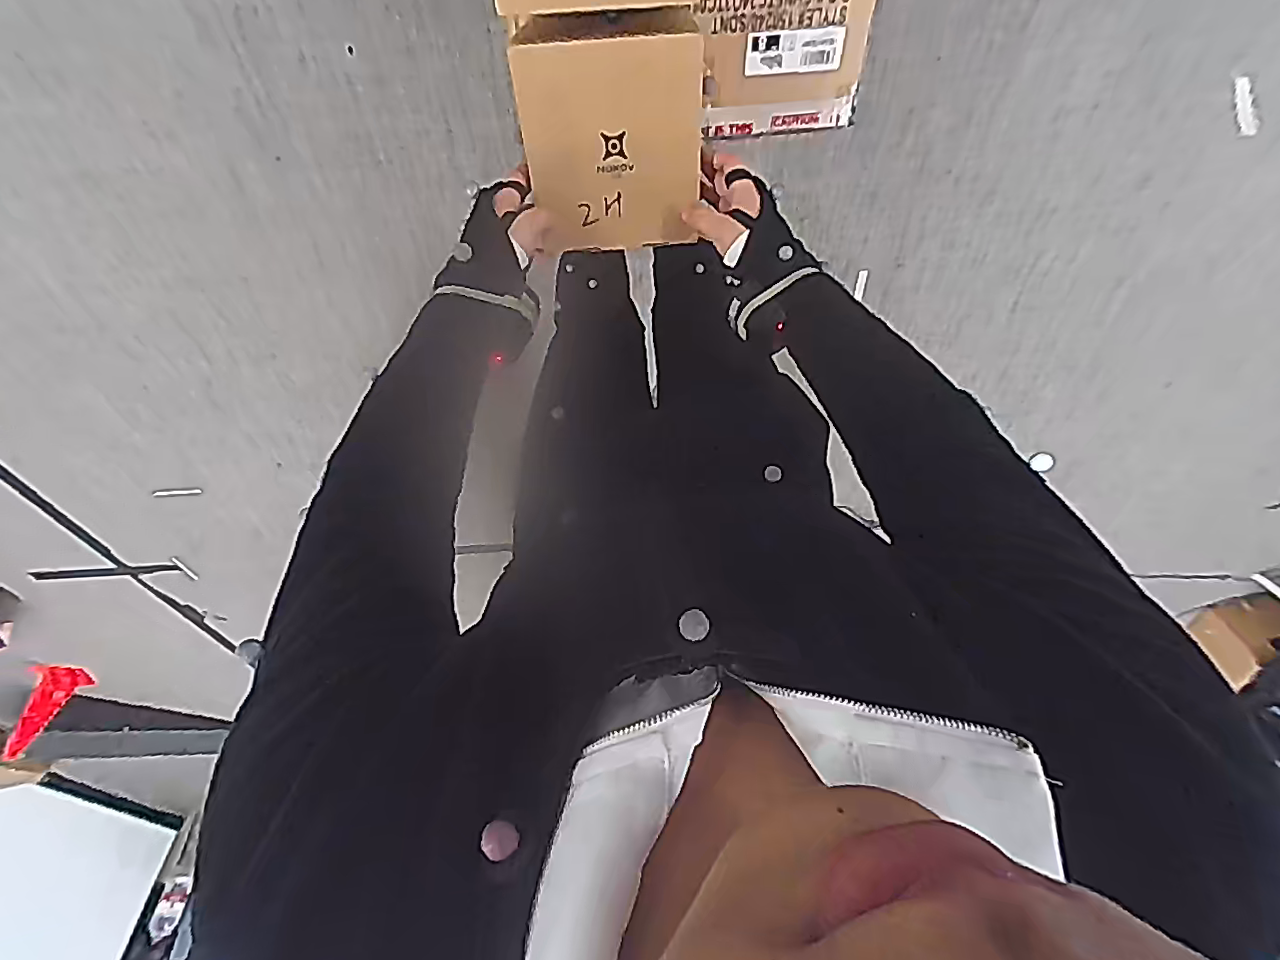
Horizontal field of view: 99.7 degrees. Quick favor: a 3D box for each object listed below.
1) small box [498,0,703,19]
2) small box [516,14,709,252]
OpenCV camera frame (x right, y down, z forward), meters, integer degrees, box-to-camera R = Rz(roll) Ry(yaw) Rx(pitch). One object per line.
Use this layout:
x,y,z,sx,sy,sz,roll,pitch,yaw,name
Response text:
-0.036,-0.491,0.422,0.168,0.176,0.179,-3,139,1,small box
-0.023,-0.363,0.563,0.168,0.176,0.179,-4,137,1,small box
